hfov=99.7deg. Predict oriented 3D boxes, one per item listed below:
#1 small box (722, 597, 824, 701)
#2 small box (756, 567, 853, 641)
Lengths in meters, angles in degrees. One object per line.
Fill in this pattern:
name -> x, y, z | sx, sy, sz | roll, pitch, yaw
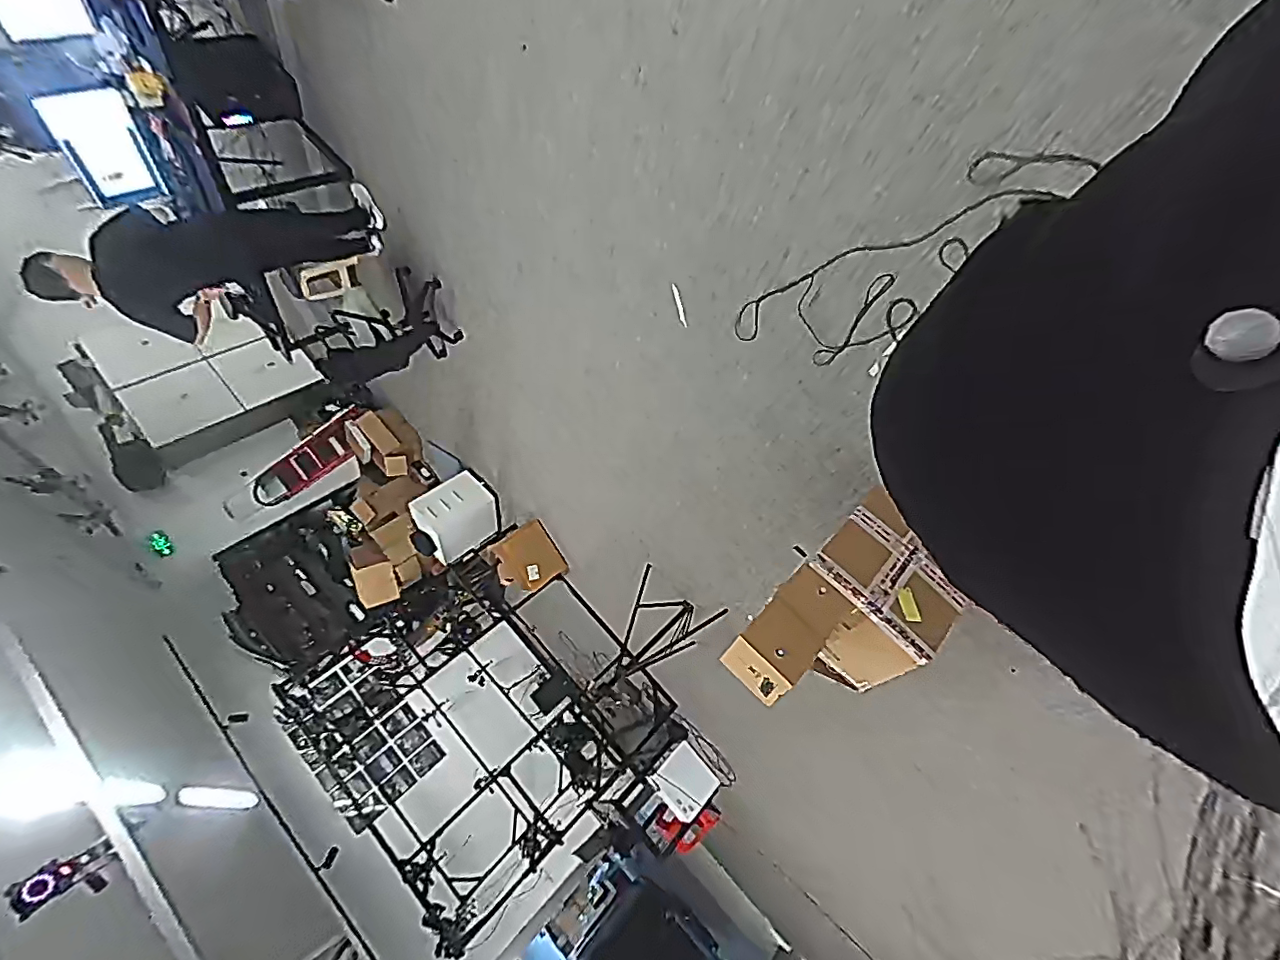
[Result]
small box -> 0.356, 0.447, 1.443 | 0.179, 0.176, 0.168 | 42, 143, 19
small box -> 0.466, 0.371, 1.541 | 0.179, 0.176, 0.168 | 42, 143, 19
